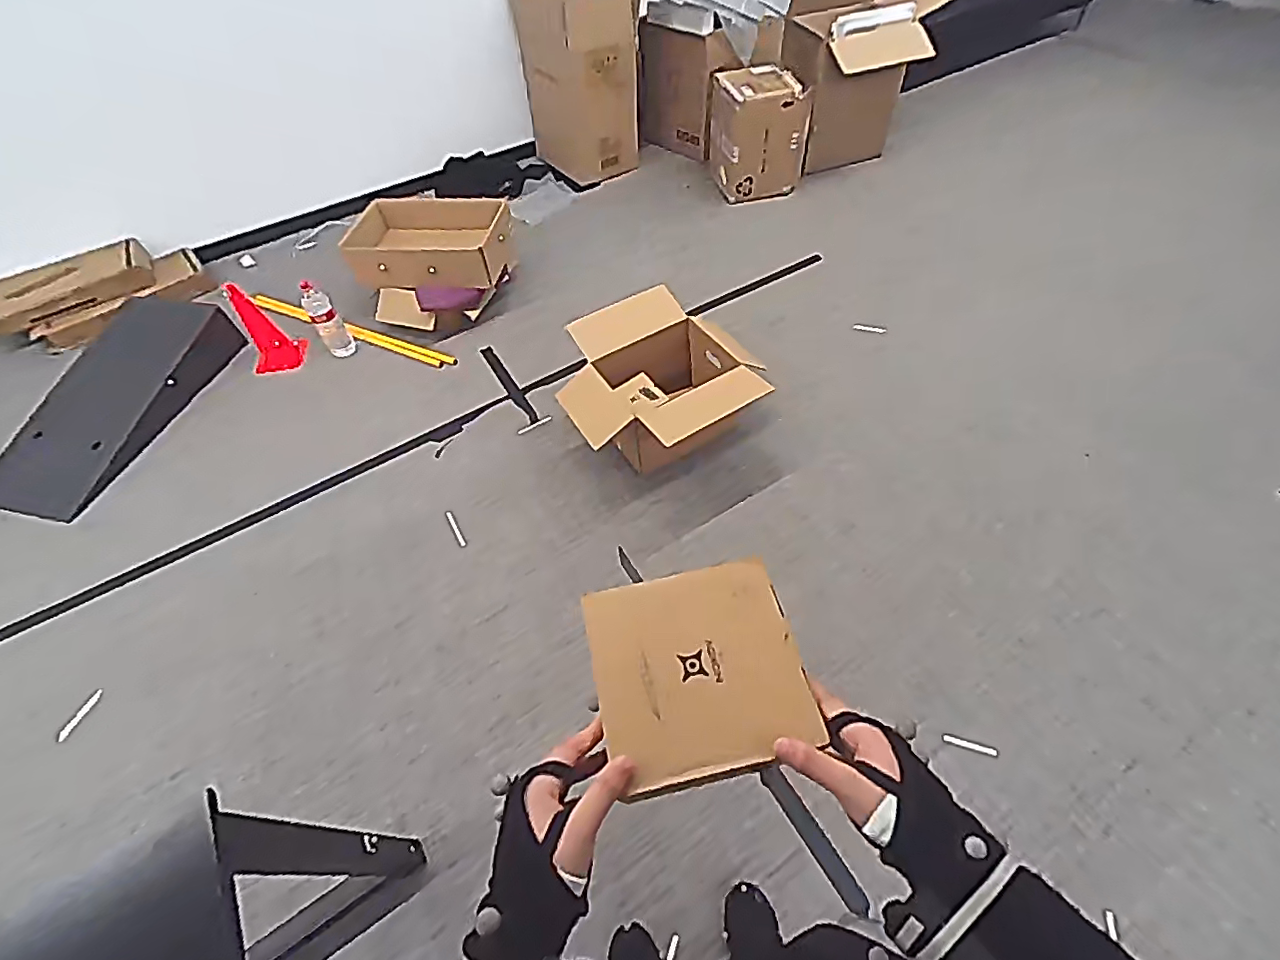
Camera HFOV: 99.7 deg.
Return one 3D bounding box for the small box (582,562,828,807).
[{"bbox_3d":[0.050,0.202,0.523,0.179,0.176,0.168,-12,57,-5],"label":"small box"}]
